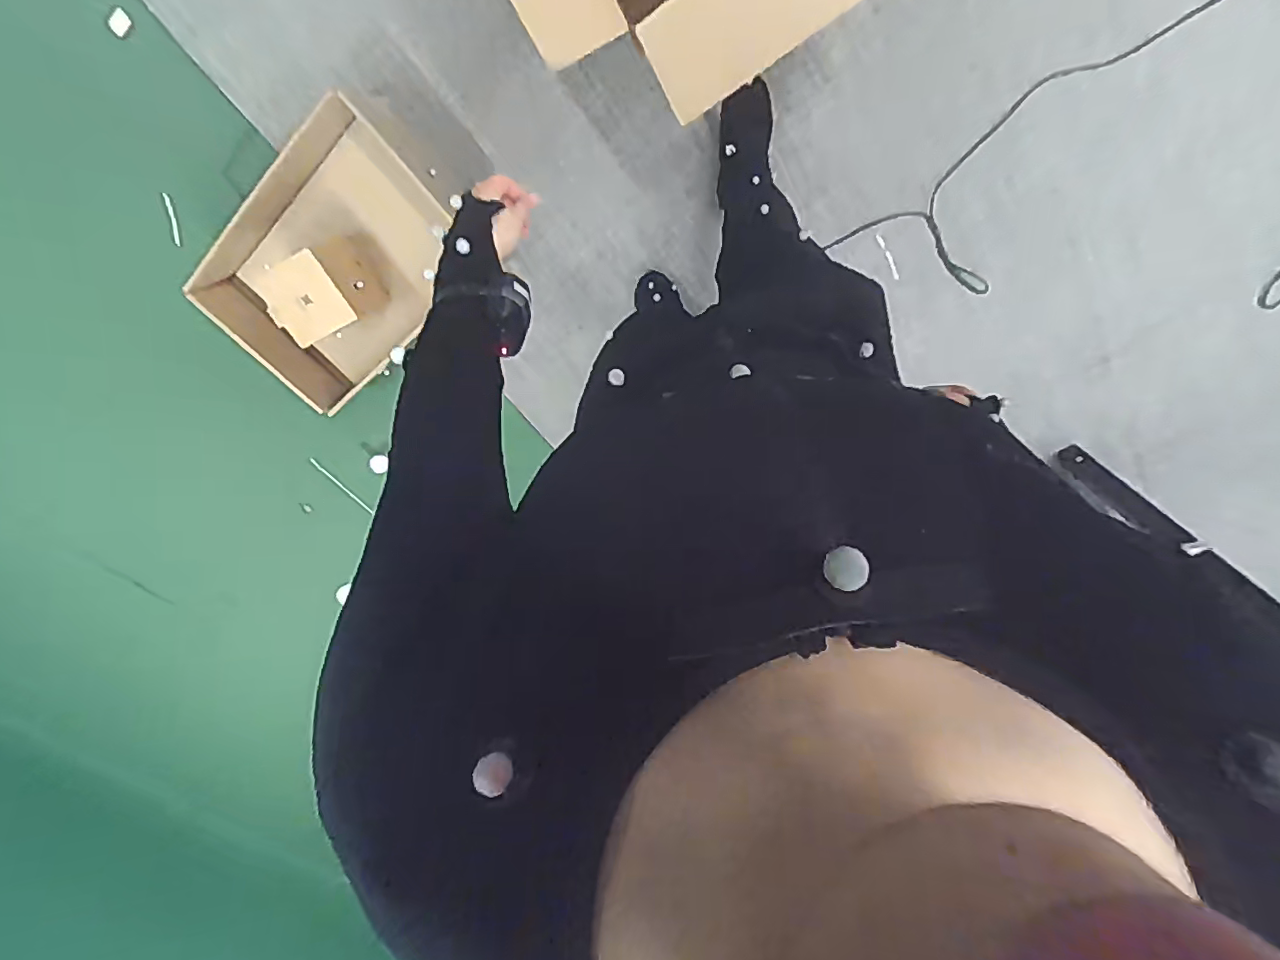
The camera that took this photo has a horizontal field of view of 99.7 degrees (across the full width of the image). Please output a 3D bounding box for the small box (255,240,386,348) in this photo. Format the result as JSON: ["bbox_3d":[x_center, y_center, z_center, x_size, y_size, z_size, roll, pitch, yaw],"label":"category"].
[{"bbox_3d":[-0.729,-0.439,1.264,0.179,0.176,0.168,-20,117,16],"label":"small box"}]
